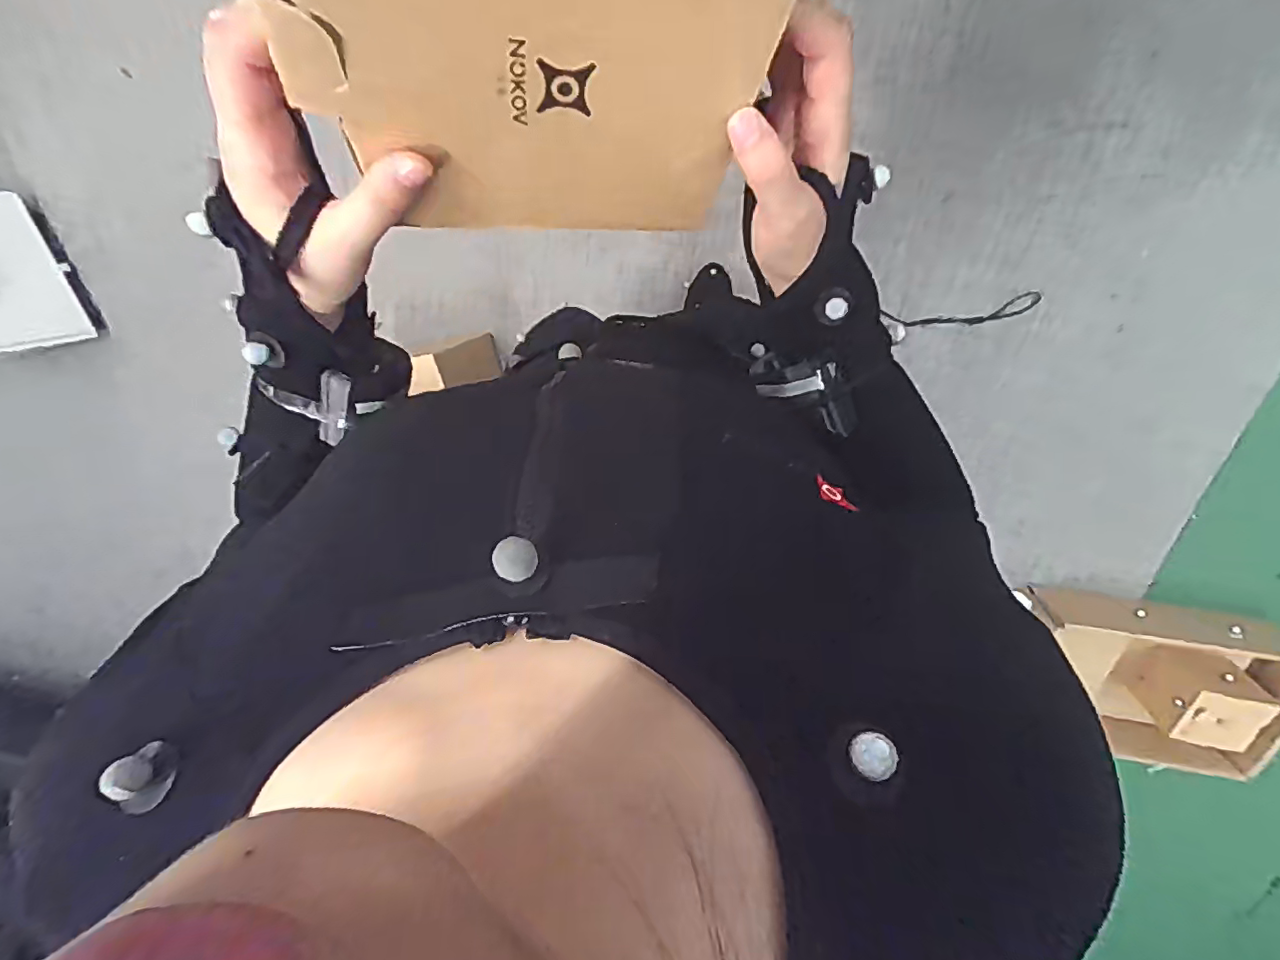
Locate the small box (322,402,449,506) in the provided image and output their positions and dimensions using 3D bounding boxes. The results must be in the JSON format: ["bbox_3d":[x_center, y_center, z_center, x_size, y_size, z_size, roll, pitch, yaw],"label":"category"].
[{"bbox_3d":[-0.559,-0.062,1.217,0.168,0.176,0.179,-8,112,12],"label":"small box"}]

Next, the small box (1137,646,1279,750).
[{"bbox_3d":[1.457,0.552,1.388,0.179,0.176,0.168,9,116,7],"label":"small box"}]
